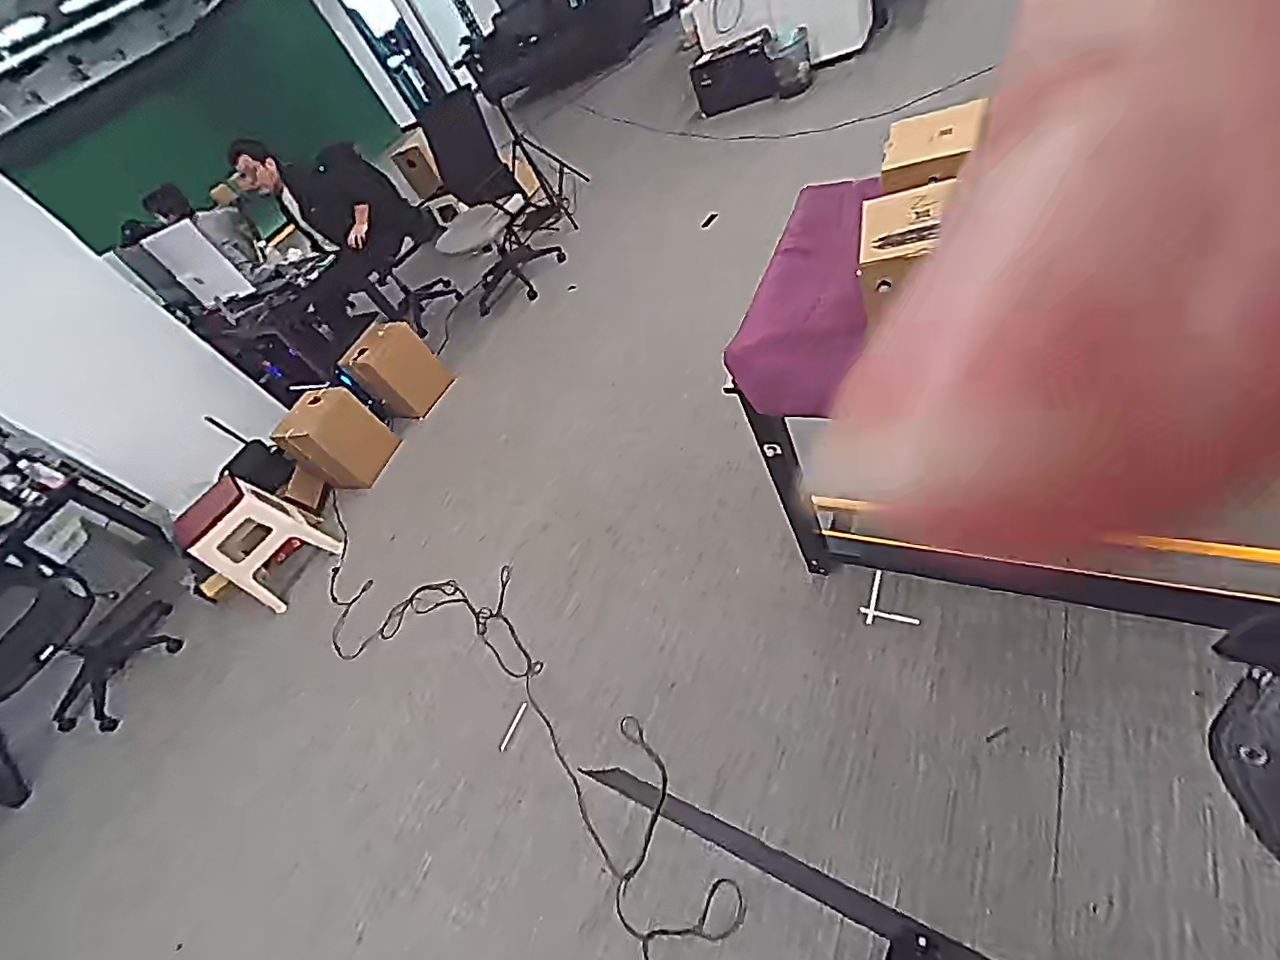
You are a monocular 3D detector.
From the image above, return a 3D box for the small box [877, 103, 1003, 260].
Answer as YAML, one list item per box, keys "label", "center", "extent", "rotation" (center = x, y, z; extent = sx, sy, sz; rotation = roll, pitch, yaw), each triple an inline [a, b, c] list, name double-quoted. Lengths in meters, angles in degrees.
- label: "small box"
  center: [0.534, -0.521, 0.963]
  extent: [0.179, 0.176, 0.168]
  rotation: [3, 55, 32]
